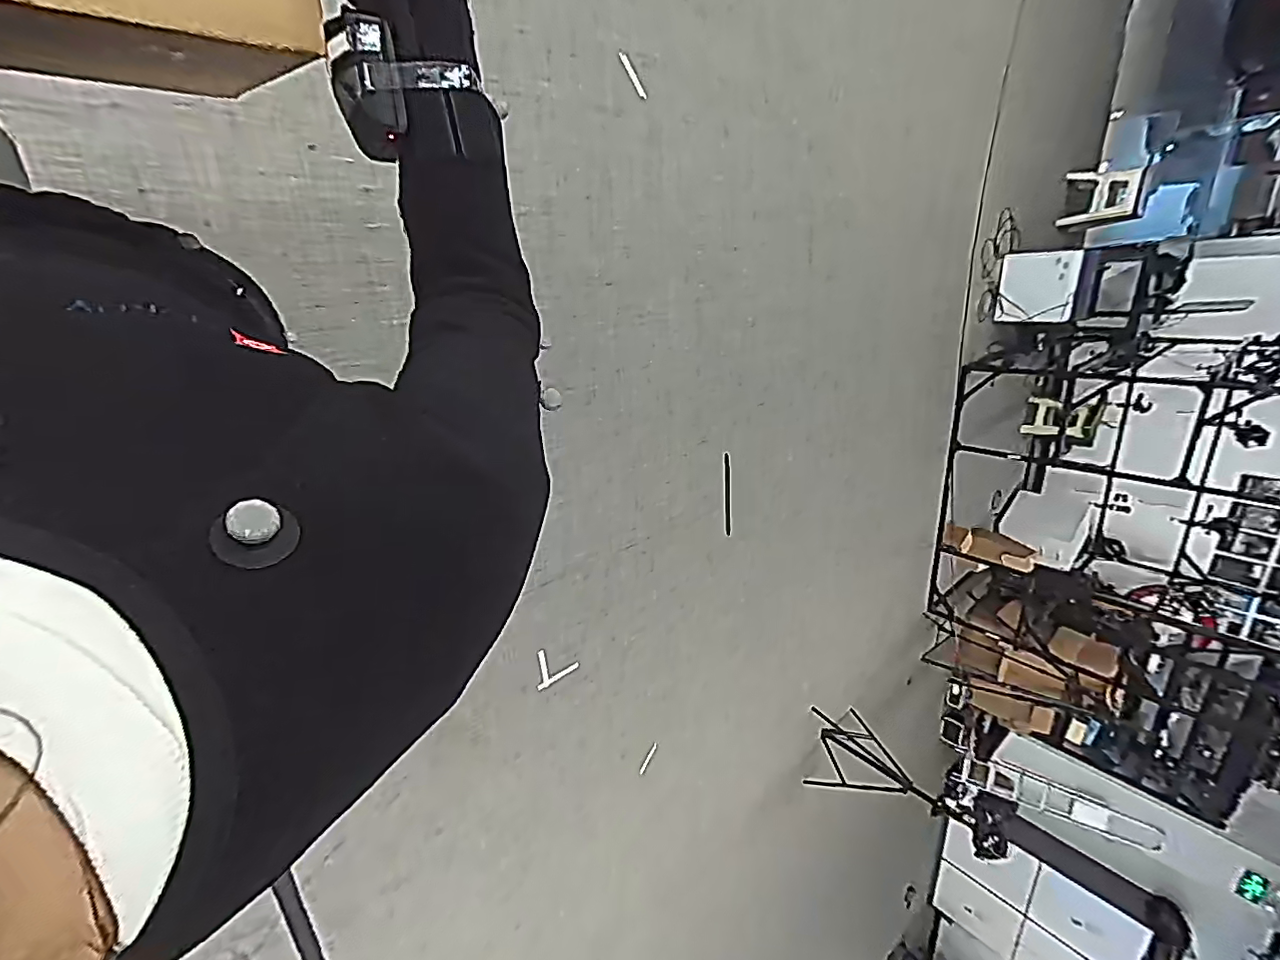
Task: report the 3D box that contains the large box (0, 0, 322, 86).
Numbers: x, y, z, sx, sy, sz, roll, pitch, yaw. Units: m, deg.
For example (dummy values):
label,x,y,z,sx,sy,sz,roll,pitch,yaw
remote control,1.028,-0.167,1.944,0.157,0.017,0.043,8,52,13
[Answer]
label,x,y,z,sx,sy,sz,roll,pitch,yaw
large box,-0.432,-0.393,0.231,0.408,0.320,0.320,-22,128,-38
